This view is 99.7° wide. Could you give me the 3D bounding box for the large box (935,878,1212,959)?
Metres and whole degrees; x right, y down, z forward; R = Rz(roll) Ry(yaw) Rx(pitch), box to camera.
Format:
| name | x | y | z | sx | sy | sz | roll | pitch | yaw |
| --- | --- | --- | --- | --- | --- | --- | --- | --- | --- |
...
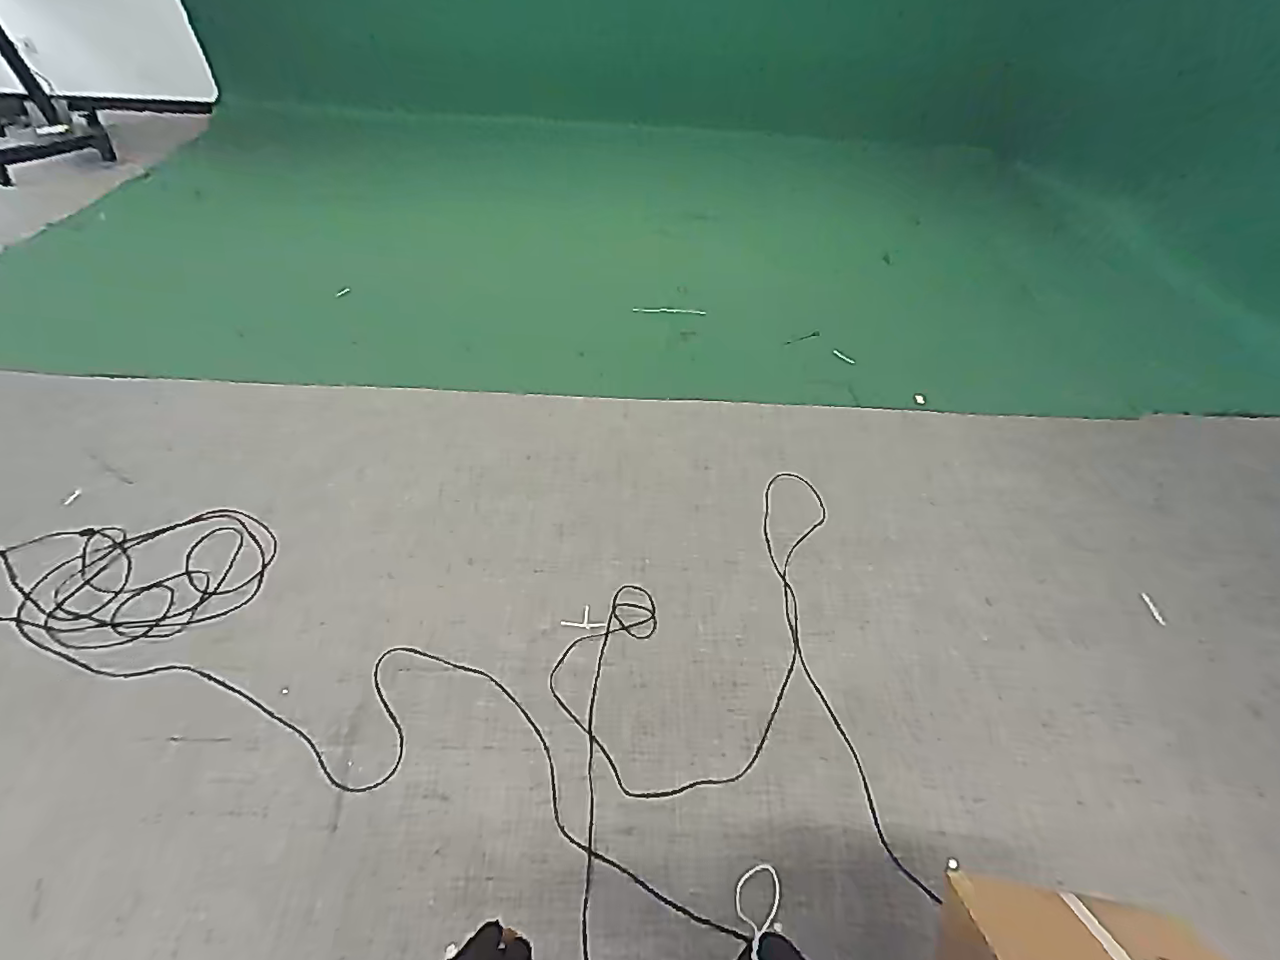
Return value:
| name | x | y | z | sx | sy | sz | roll | pitch | yaw |
| --- | --- | --- | --- | --- | --- | --- | --- | --- | --- |
| large box | 0.553 | 0.748 | 0.581 | 0.320 | 0.408 | 0.320 | 7 | 90 | 8 |
